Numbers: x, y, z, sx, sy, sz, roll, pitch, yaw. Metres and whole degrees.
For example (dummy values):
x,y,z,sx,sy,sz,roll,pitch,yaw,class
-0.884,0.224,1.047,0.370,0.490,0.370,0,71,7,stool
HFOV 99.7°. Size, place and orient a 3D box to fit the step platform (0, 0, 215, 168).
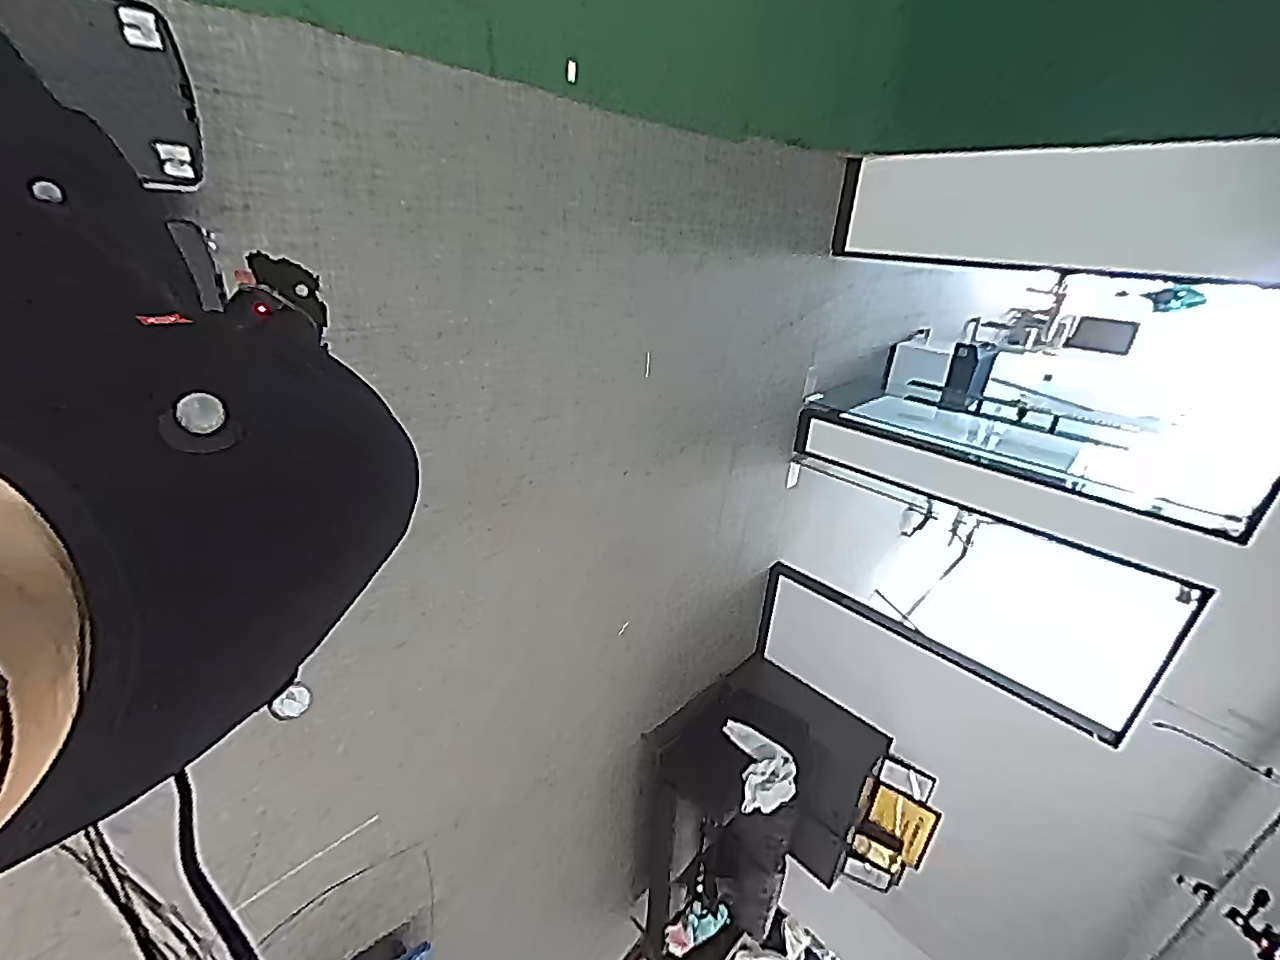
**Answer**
x,y,z,sx,sy,sz,roll,pitch,yaw,class
-0.976,-0.584,0.667,0.684,0.204,0.286,-20,124,-41,step platform
